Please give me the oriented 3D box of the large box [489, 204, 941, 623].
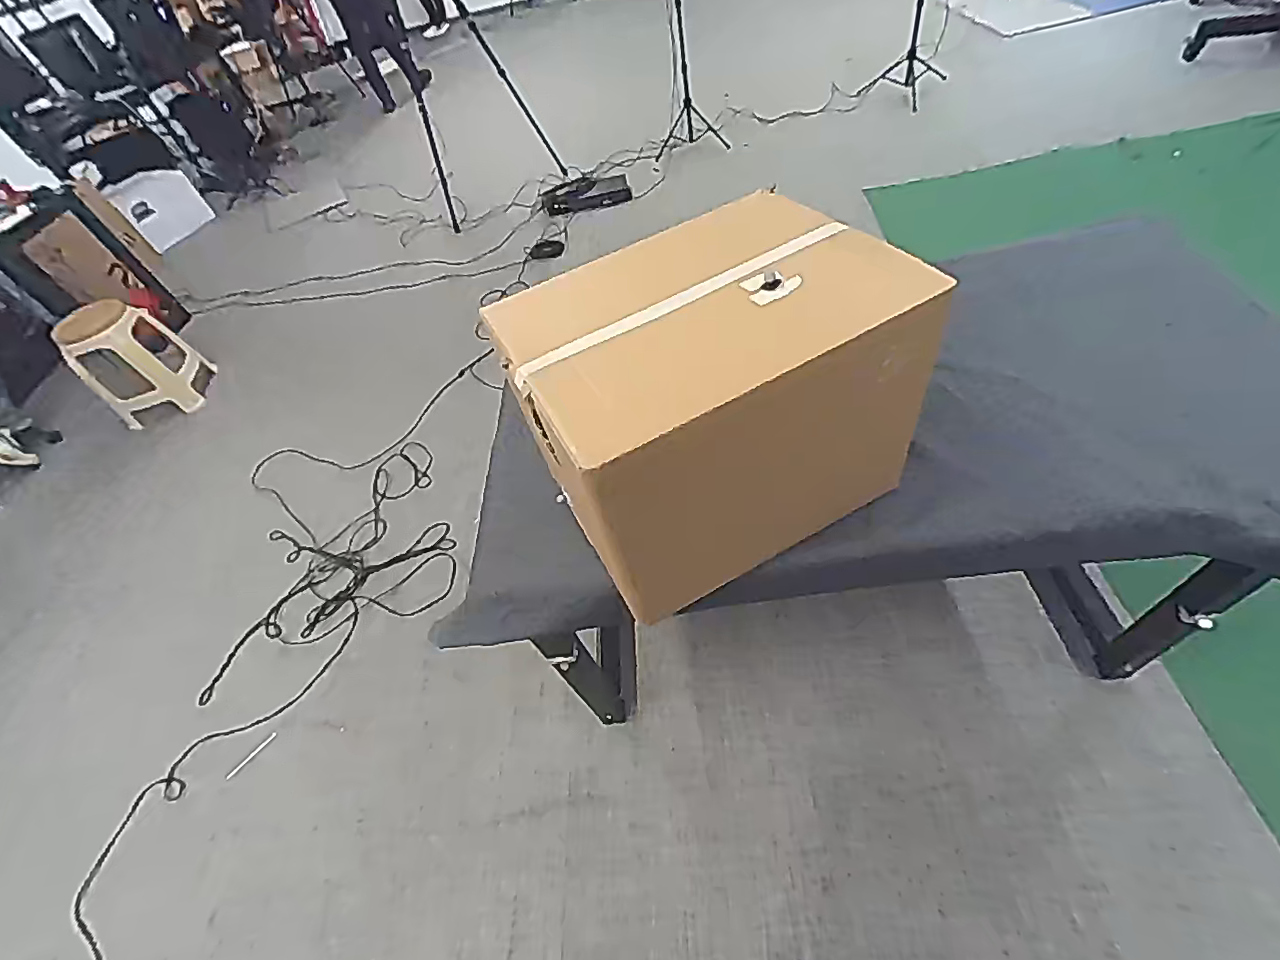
[{"bbox_3d":[0.082,-0.092,0.698,0.408,0.320,0.320,-27,51,-12],"label":"large box"}]
